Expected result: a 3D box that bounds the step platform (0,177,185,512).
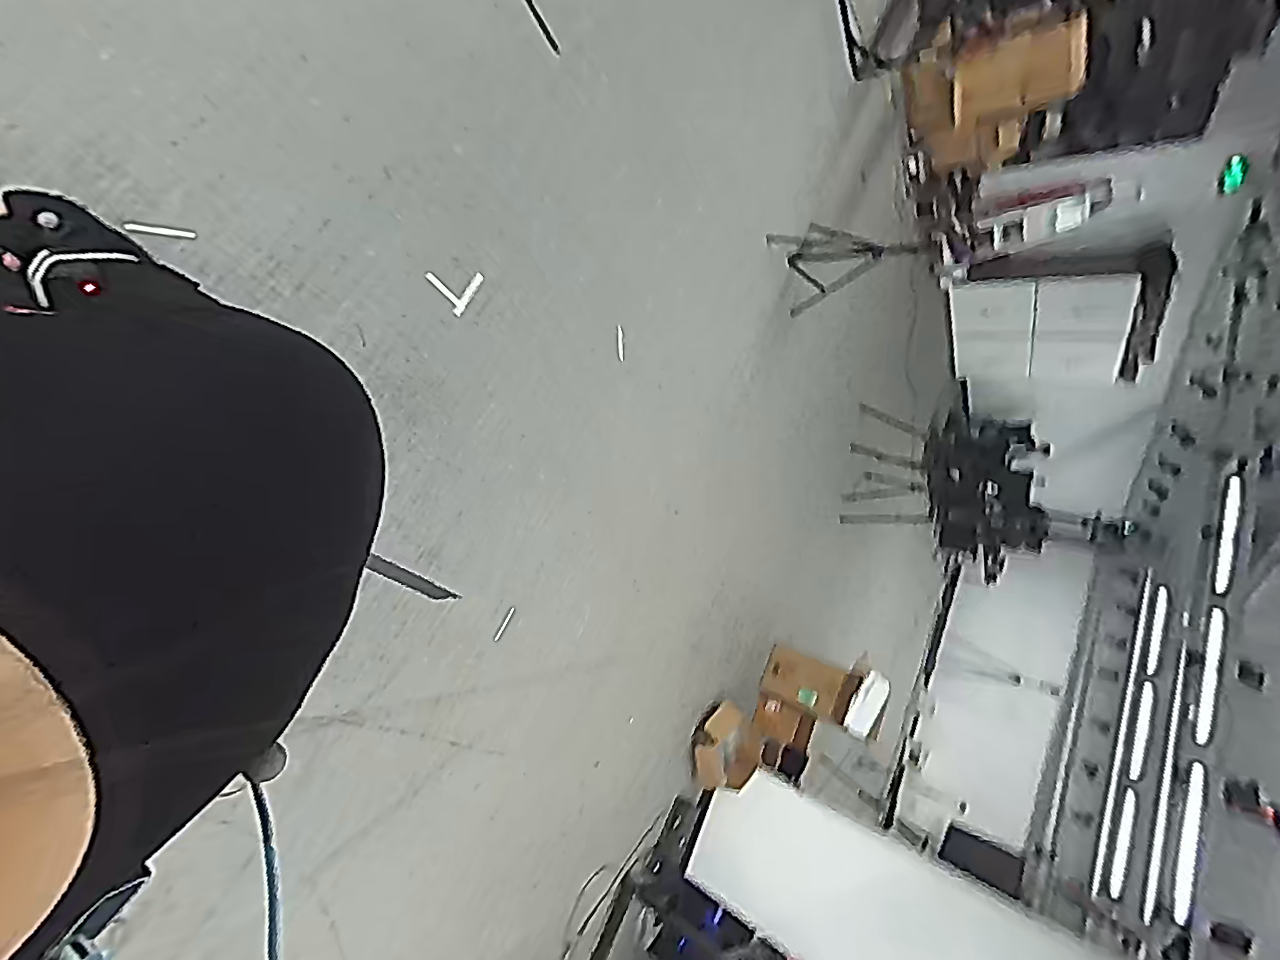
[{"bbox_3d":[-1.221,-0.228,1.022,0.286,0.204,0.684,43,65,-47],"label":"step platform"}]
